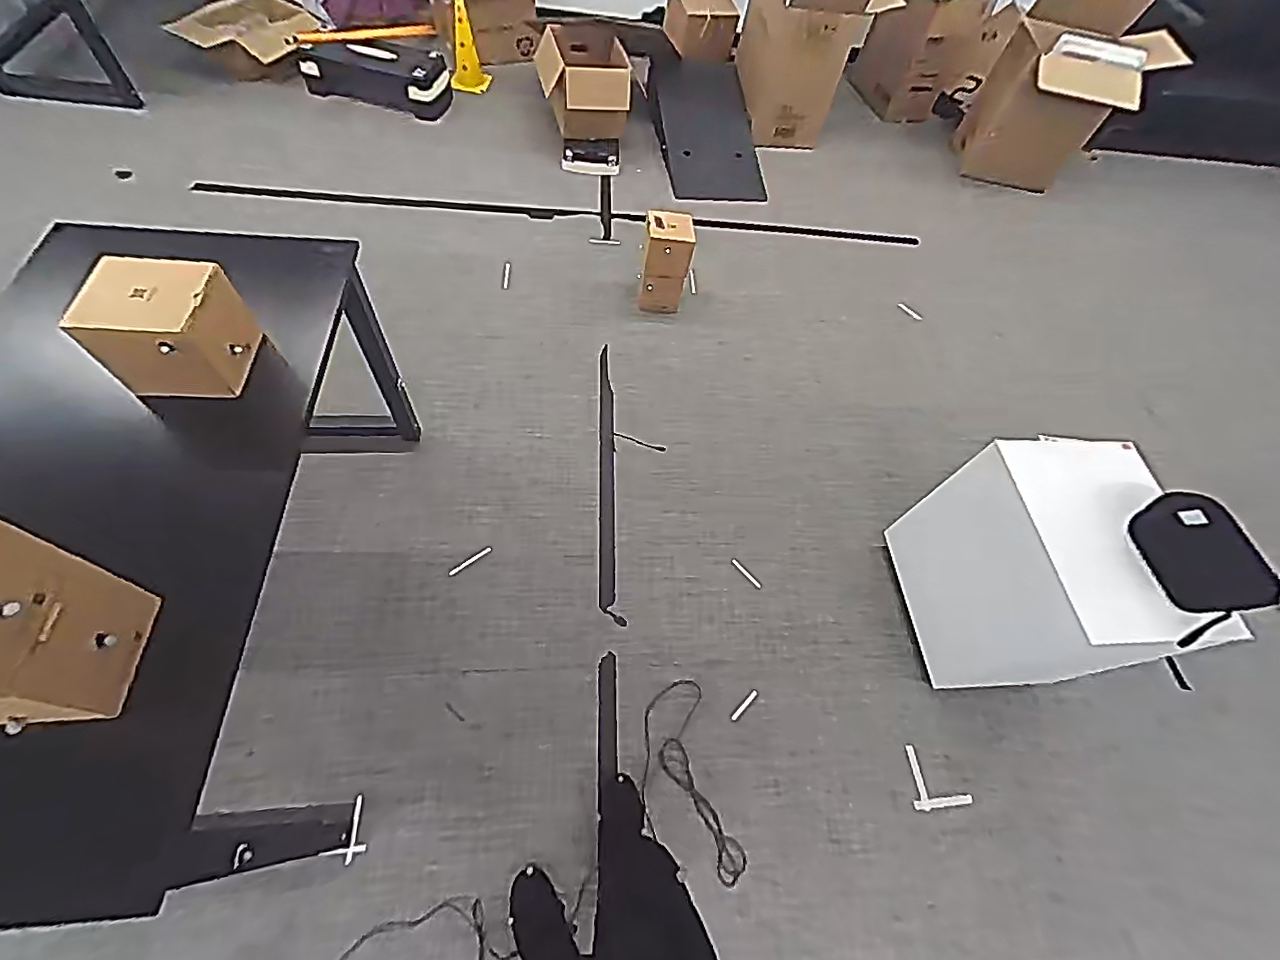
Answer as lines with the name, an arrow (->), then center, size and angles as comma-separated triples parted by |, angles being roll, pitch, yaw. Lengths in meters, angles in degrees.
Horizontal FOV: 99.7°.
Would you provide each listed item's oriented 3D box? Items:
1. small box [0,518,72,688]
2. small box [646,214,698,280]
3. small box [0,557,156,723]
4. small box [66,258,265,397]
small box -> -0.752, 0.120, 0.534 | 0.179, 0.176, 0.168 | 0, 60, -8
small box -> 0.117, -0.903, 2.104 | 0.179, 0.176, 0.168 | 2, 59, -8
small box -> -0.770, 0.203, 0.675 | 0.179, 0.176, 0.168 | 0, 60, -9
small box -> -0.806, -0.260, 0.944 | 0.179, 0.176, 0.168 | 1, 60, -8
